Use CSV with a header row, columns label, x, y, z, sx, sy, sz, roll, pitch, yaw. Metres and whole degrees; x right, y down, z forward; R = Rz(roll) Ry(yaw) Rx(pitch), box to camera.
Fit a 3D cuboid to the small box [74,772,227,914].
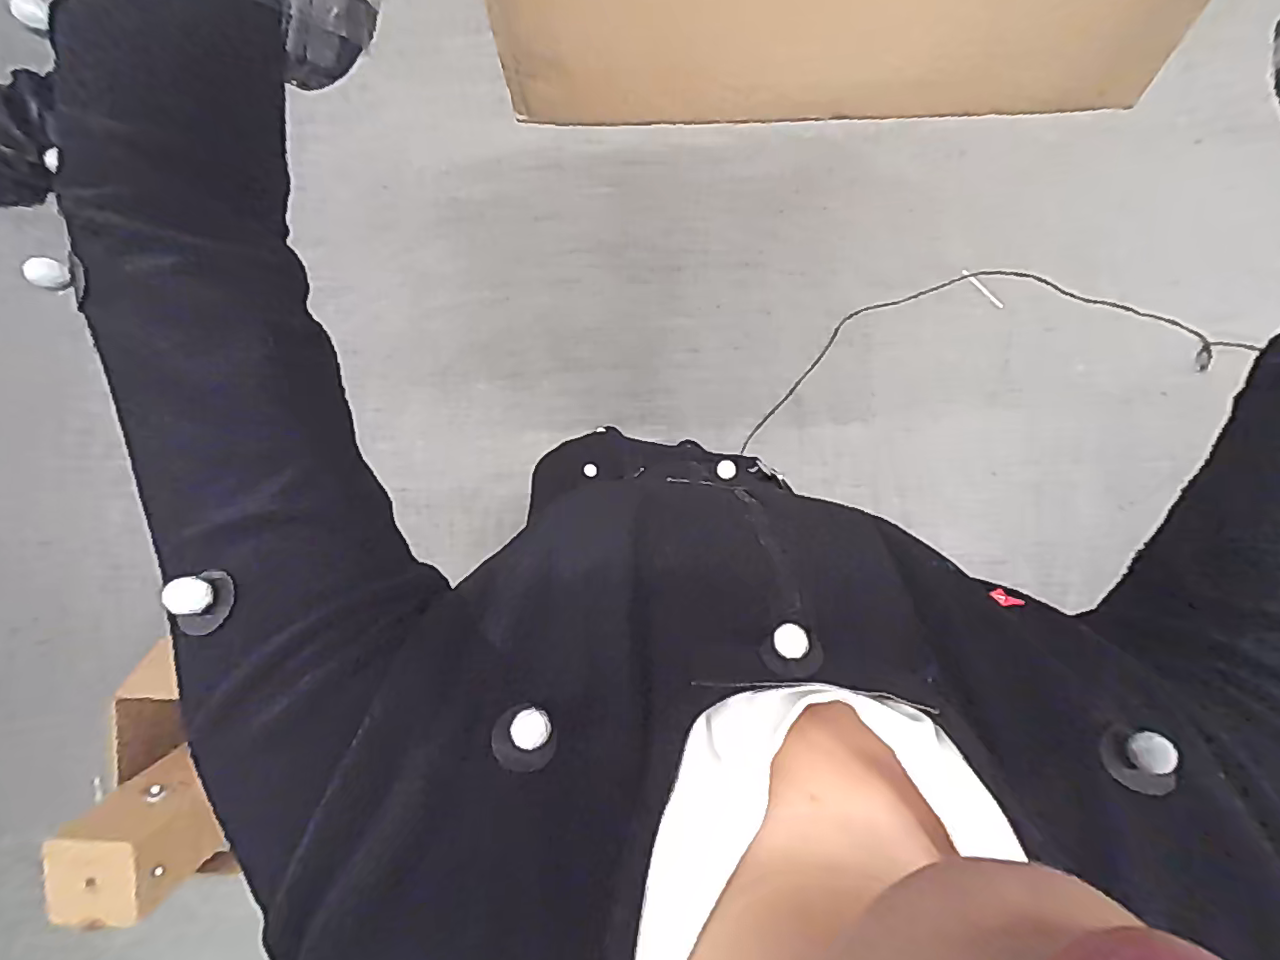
label,x,y,z,sx,sy,sz,roll,pitch,yaw
small box,-0.987,0.736,1.108,0.168,0.176,0.179,1,96,0
